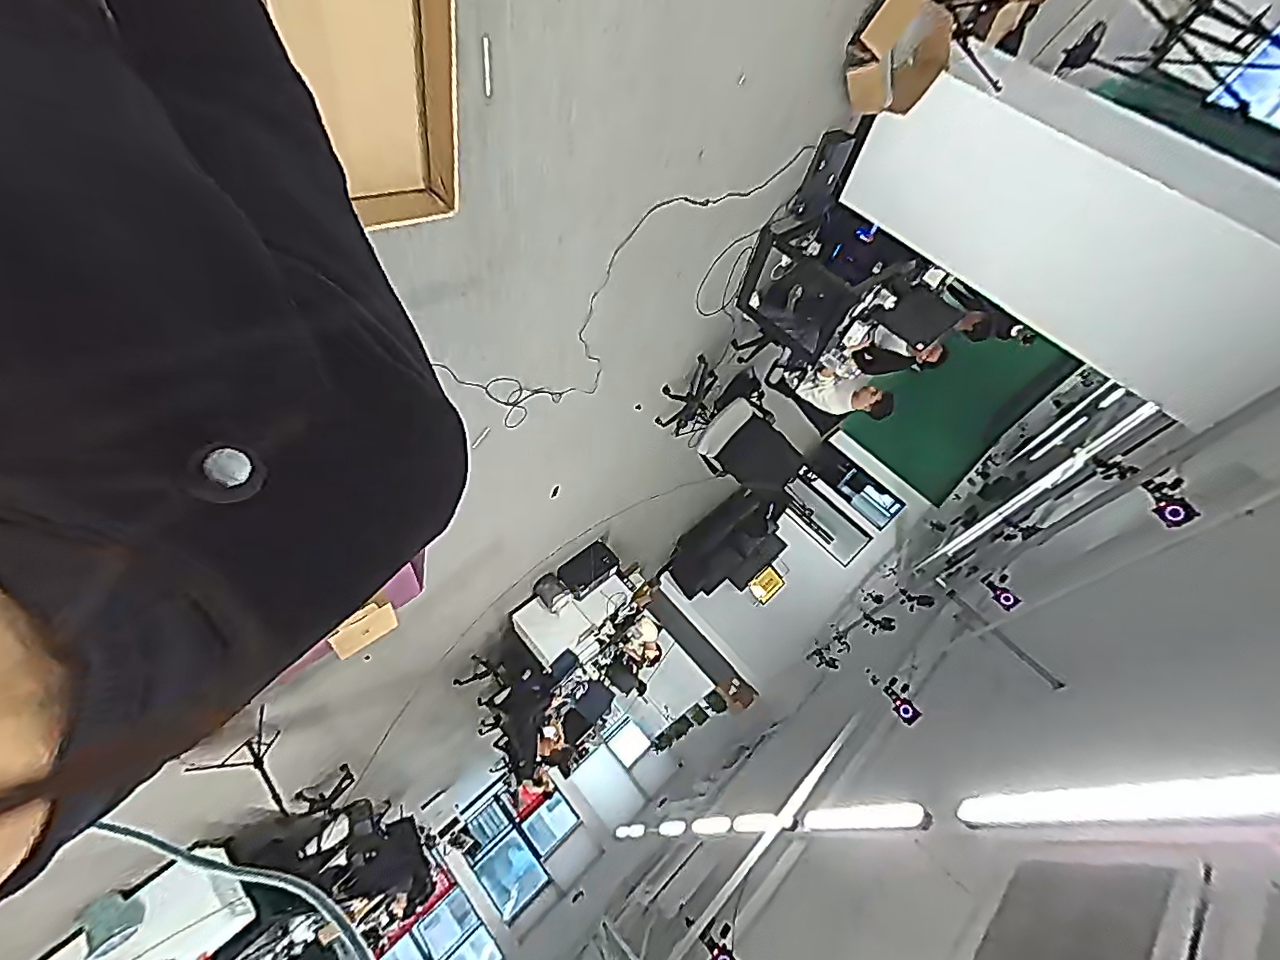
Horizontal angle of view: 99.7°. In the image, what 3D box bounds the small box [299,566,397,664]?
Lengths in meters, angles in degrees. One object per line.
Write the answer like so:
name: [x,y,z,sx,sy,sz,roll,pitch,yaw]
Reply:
small box: [-0.790,0.360,1.469,0.168,0.176,0.179,-32,158,-33]
